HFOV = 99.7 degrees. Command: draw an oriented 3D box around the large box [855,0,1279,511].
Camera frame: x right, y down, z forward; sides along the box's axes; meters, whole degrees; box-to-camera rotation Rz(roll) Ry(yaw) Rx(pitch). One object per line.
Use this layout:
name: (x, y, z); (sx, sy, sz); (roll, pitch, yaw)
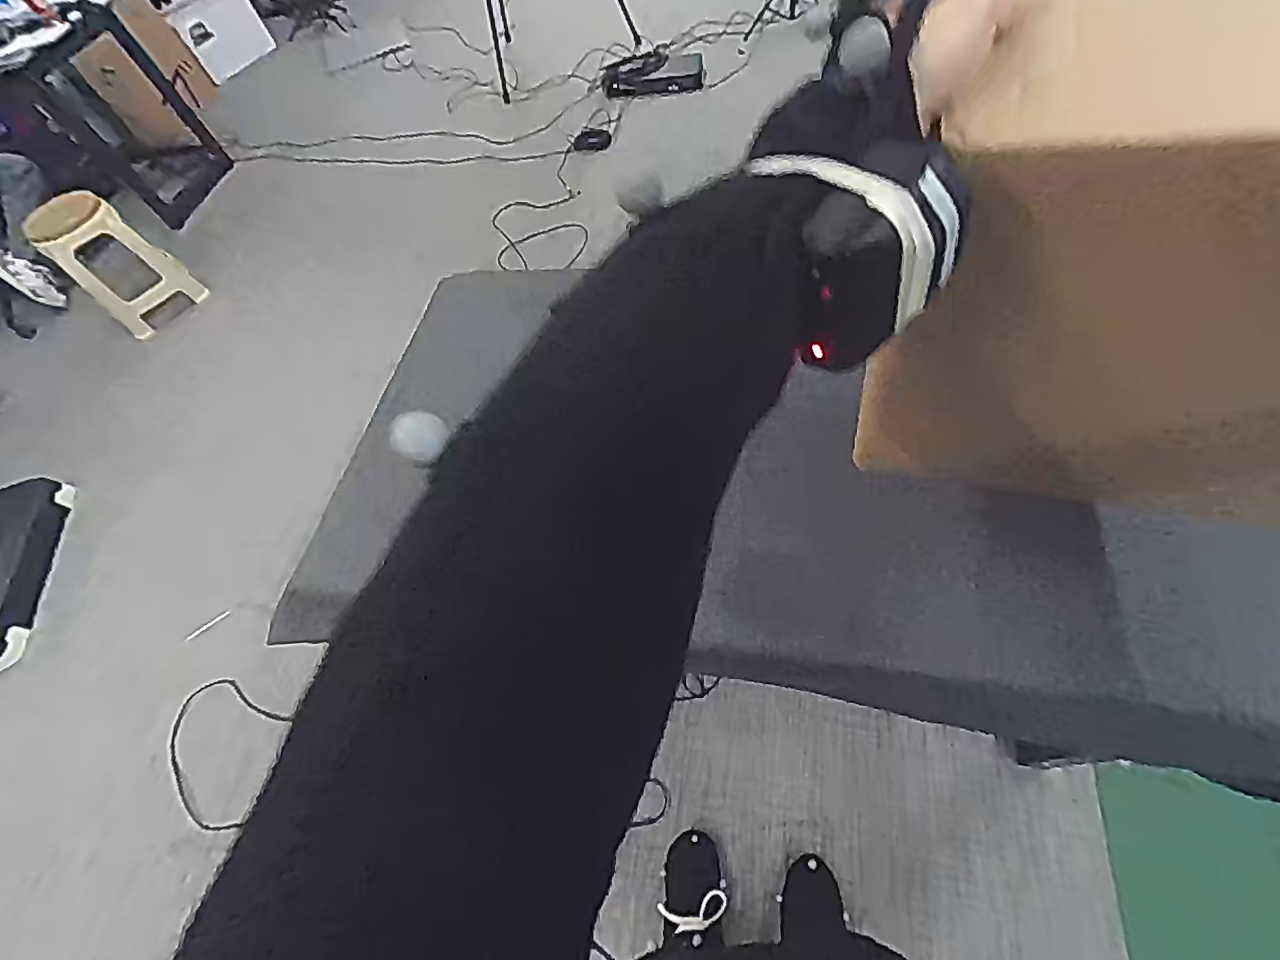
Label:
large box: (0.382, -0.187, 0.351); (0.408, 0.320, 0.320); (9, 69, 18)
